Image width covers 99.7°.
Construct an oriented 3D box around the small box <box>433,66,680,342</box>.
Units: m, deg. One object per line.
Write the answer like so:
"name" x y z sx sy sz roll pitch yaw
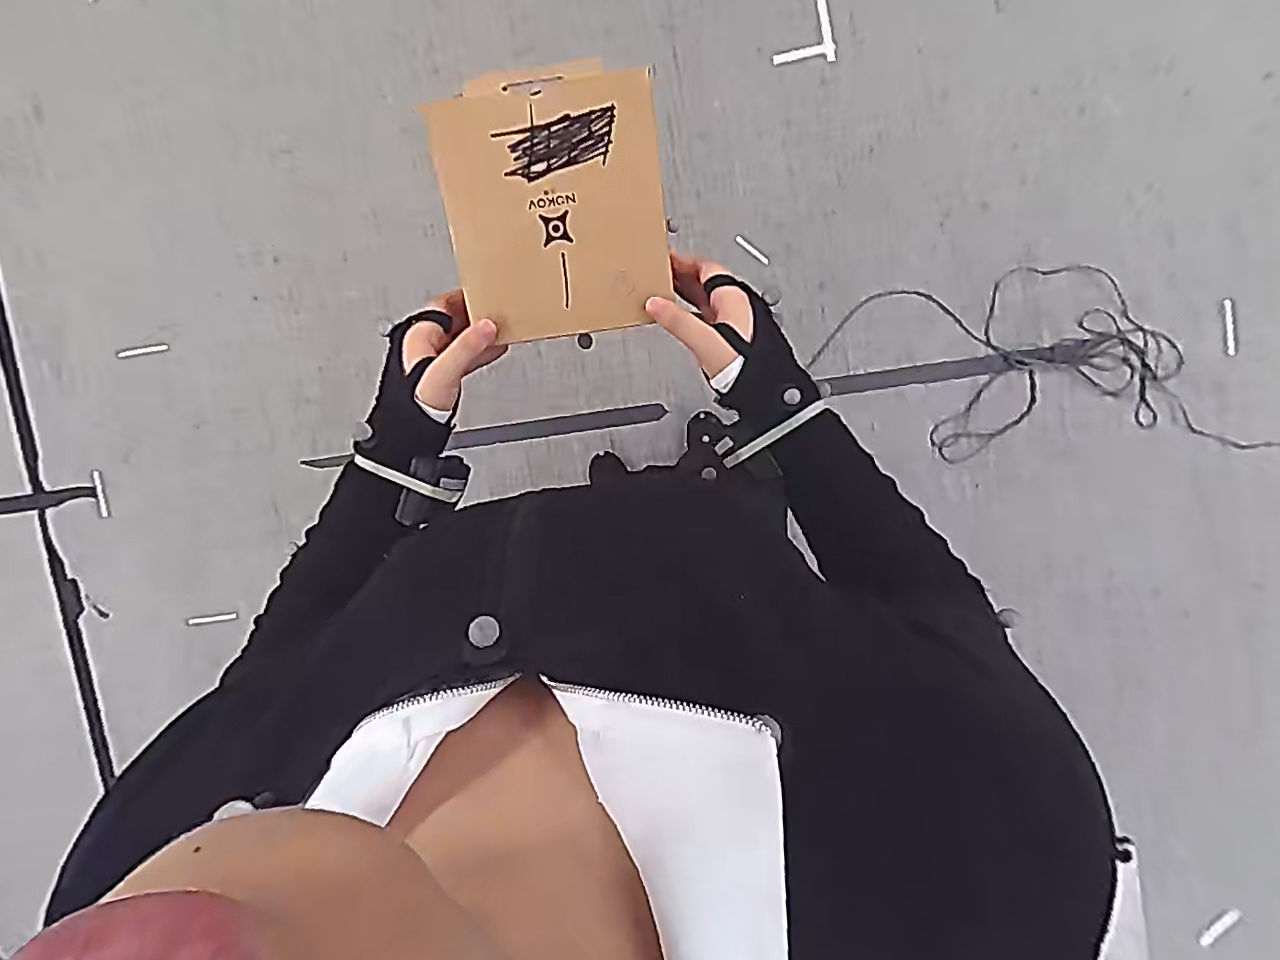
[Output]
"small box" -0.058 -0.222 0.481 0.168 0.176 0.179 -6 107 3
